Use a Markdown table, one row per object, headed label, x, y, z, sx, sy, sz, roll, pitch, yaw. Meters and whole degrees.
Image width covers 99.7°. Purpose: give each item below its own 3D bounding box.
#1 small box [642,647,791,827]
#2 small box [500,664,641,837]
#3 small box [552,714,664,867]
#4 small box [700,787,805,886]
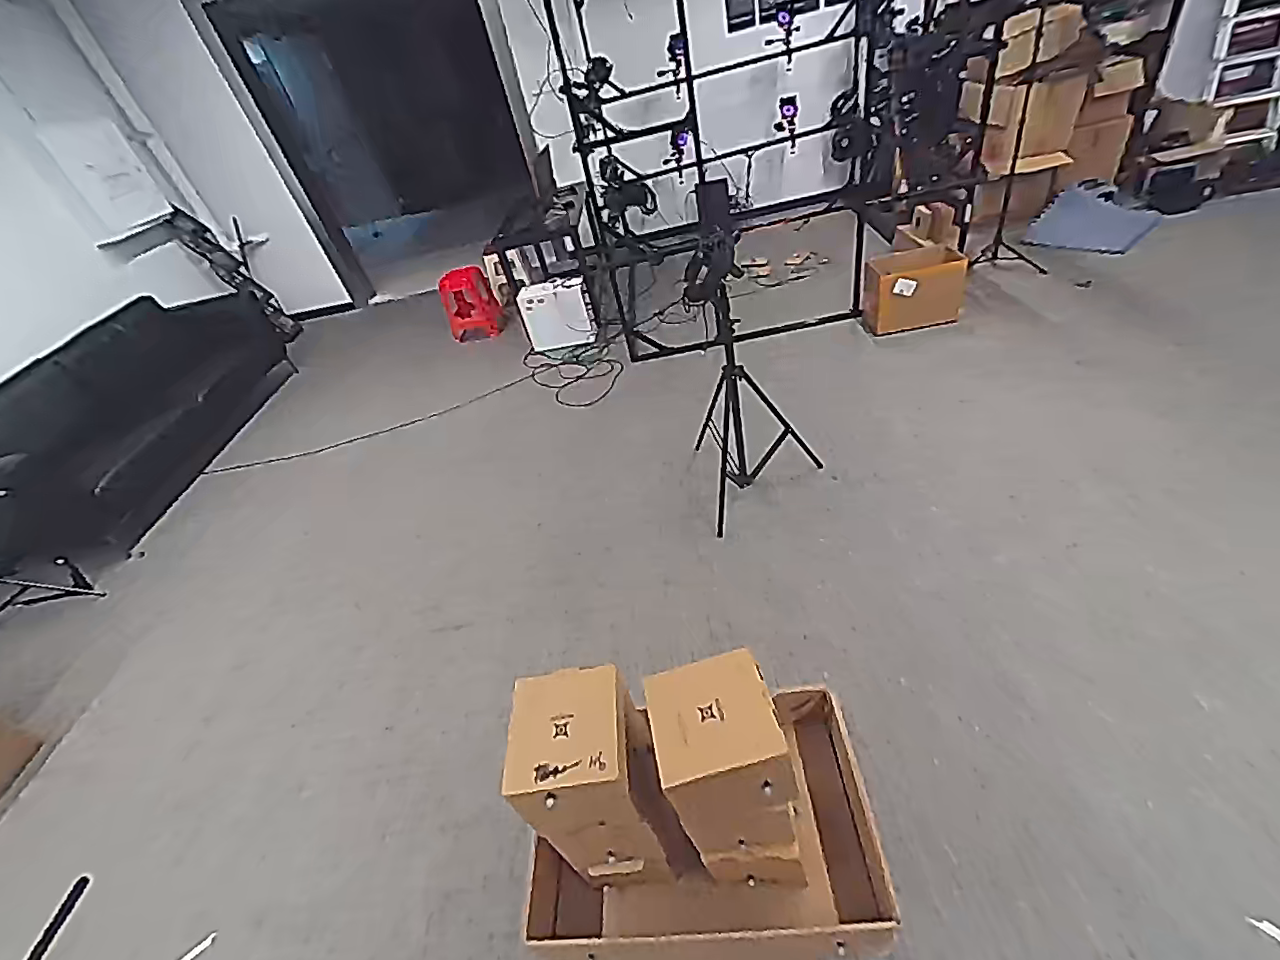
| label | x | y | z | sx | sy | sz | roll | pitch | yaw |
| --- | --- | --- | --- | --- | --- | --- | --- | --- | --- |
| small box | 0.117 | 0.386 | 0.810 | 0.179 | 0.176 | 0.168 | -18 | 38 | 3 |
| small box | -0.097 | 0.418 | 0.838 | 0.168 | 0.176 | 0.179 | -12 | 38 | 6 |
| small box | -0.056 | 0.540 | 0.942 | 0.168 | 0.176 | 0.179 | -11 | 40 | 6 |
| small box | 0.206 | 0.630 | 1.009 | 0.168 | 0.176 | 0.179 | -11 | 40 | 12 |
